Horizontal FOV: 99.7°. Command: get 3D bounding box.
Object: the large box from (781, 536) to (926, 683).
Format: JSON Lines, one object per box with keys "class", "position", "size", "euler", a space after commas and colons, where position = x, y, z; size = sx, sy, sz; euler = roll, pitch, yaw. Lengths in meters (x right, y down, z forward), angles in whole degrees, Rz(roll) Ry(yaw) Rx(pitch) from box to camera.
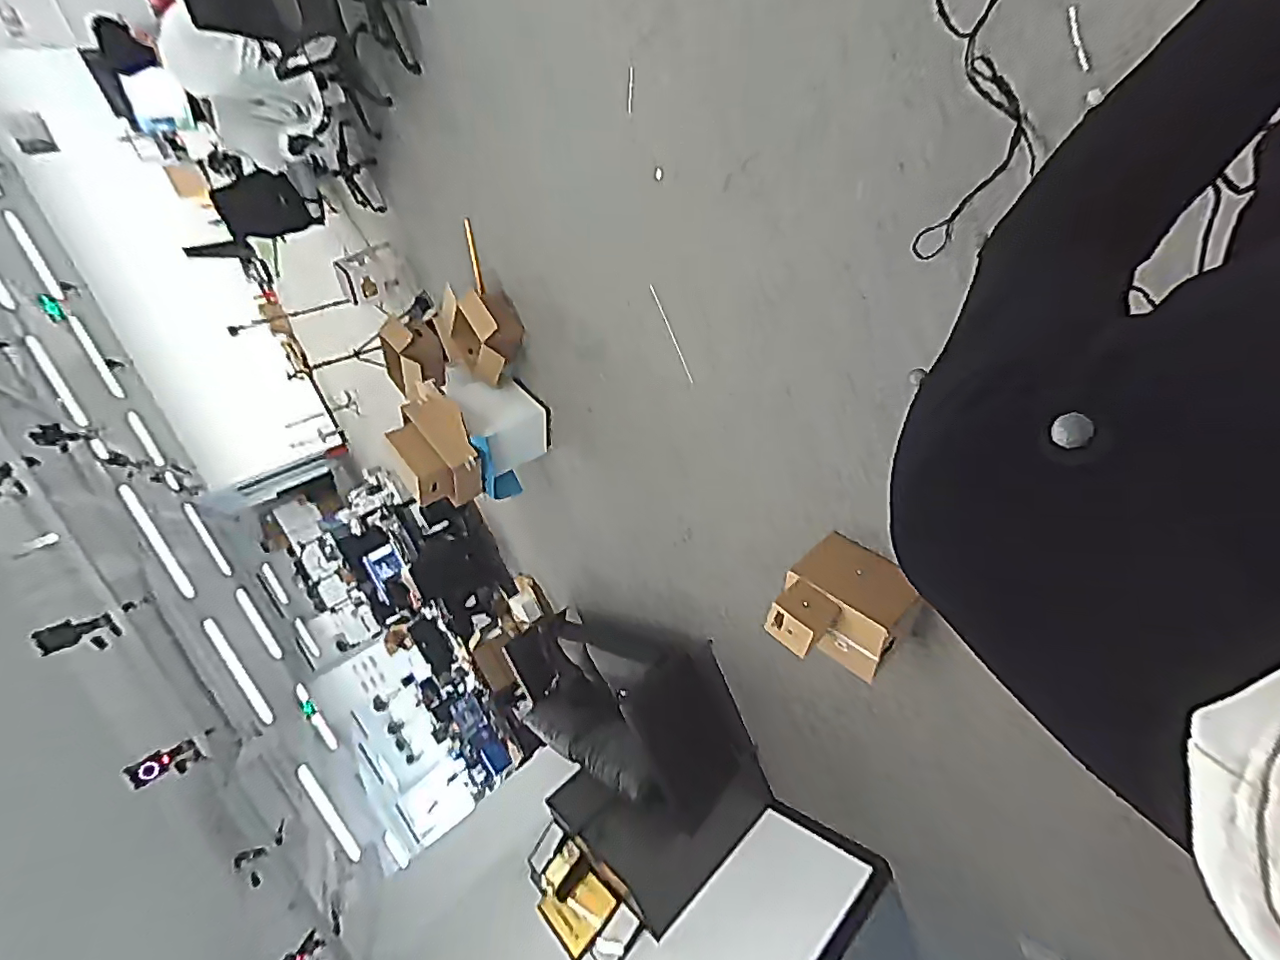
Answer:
{"class": "large box", "position": [0.810, 0.484, 2.092], "size": [0.408, 0.320, 0.320], "euler": [30, 139, 38]}
